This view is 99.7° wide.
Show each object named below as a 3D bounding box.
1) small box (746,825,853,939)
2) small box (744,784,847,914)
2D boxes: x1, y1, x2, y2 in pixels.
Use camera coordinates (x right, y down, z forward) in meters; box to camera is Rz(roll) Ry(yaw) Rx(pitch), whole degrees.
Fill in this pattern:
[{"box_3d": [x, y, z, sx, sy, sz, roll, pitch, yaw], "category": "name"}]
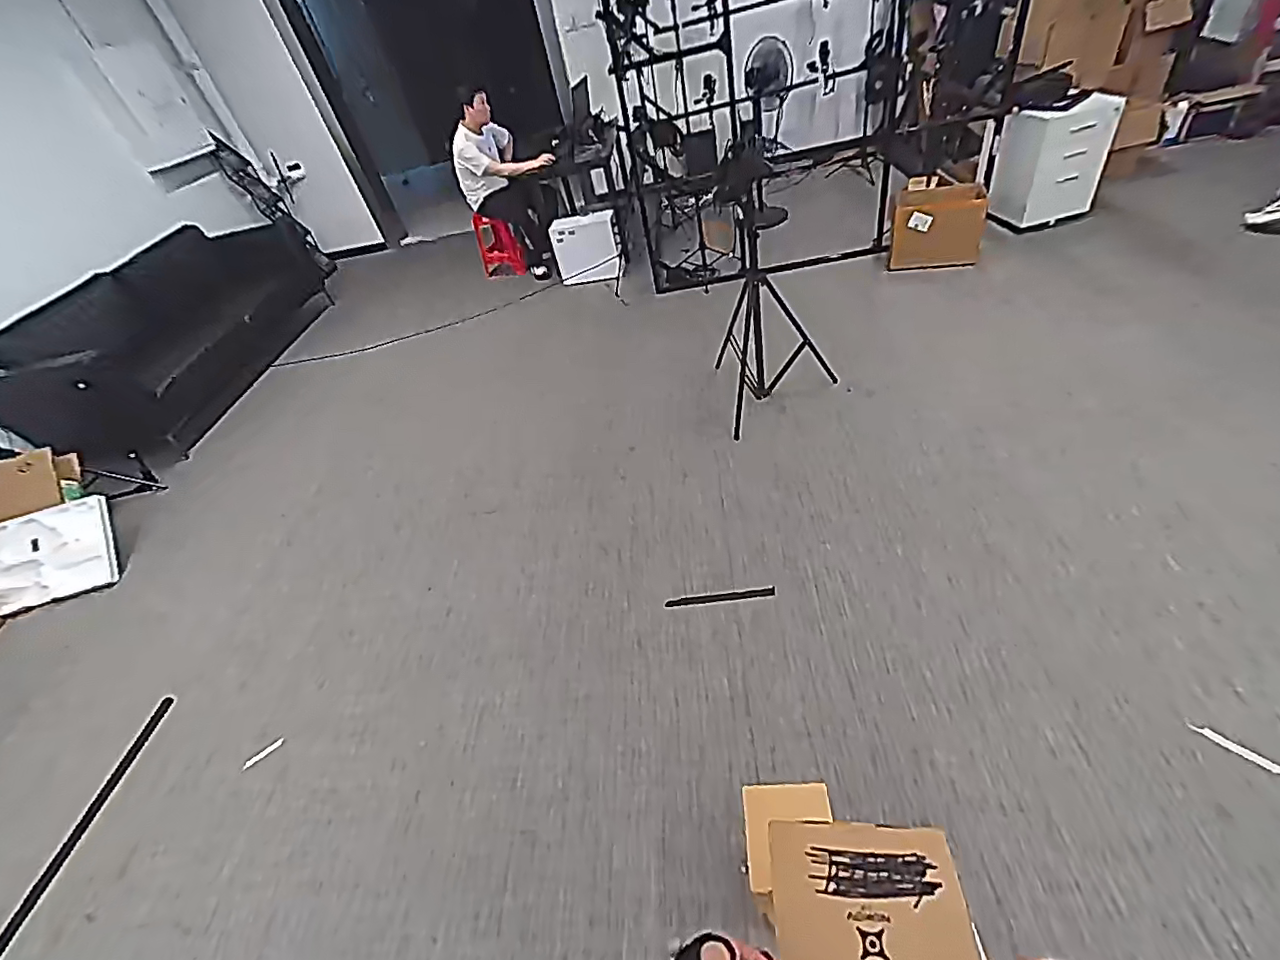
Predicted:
[{"box_3d": [0.334, 0.841, 1.156, 0.168, 0.176, 0.179, -16, 41, 0], "category": "small box"}, {"box_3d": [0.295, 0.719, 1.054, 0.168, 0.176, 0.179, -7, 42, 9], "category": "small box"}]
